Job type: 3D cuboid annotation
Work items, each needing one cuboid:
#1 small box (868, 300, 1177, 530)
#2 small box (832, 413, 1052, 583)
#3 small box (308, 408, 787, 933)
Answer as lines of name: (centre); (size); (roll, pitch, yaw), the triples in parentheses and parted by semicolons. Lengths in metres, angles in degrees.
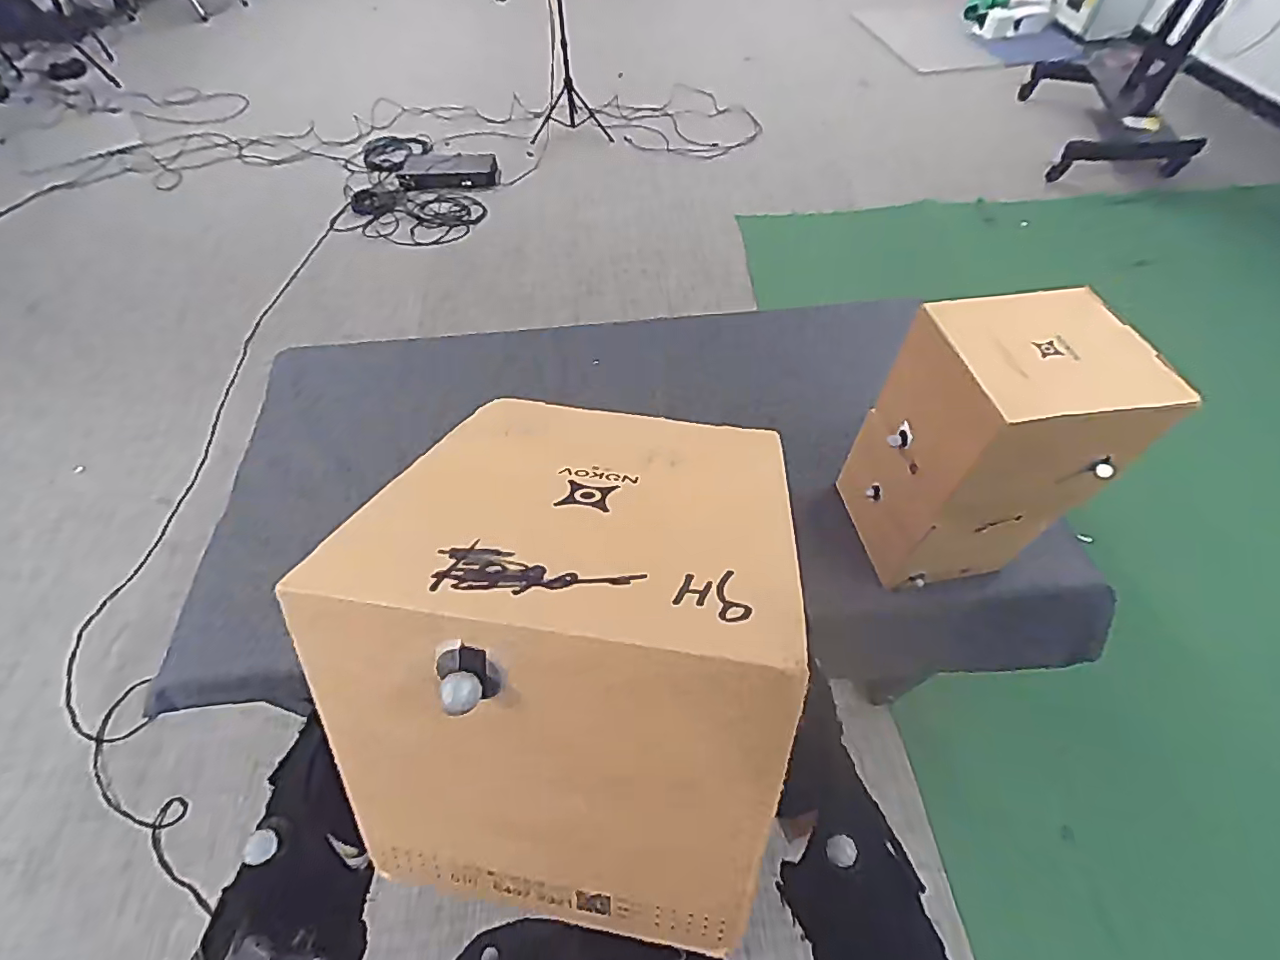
small box: (0.375, -0.064, 0.575); (0.179, 0.176, 0.168); (-7, 53, -2)
small box: (0.378, 0.022, 0.712); (0.168, 0.176, 0.179); (-8, 54, -4)
small box: (-0.026, 0.077, 0.281); (0.168, 0.176, 0.179); (7, 27, 7)
